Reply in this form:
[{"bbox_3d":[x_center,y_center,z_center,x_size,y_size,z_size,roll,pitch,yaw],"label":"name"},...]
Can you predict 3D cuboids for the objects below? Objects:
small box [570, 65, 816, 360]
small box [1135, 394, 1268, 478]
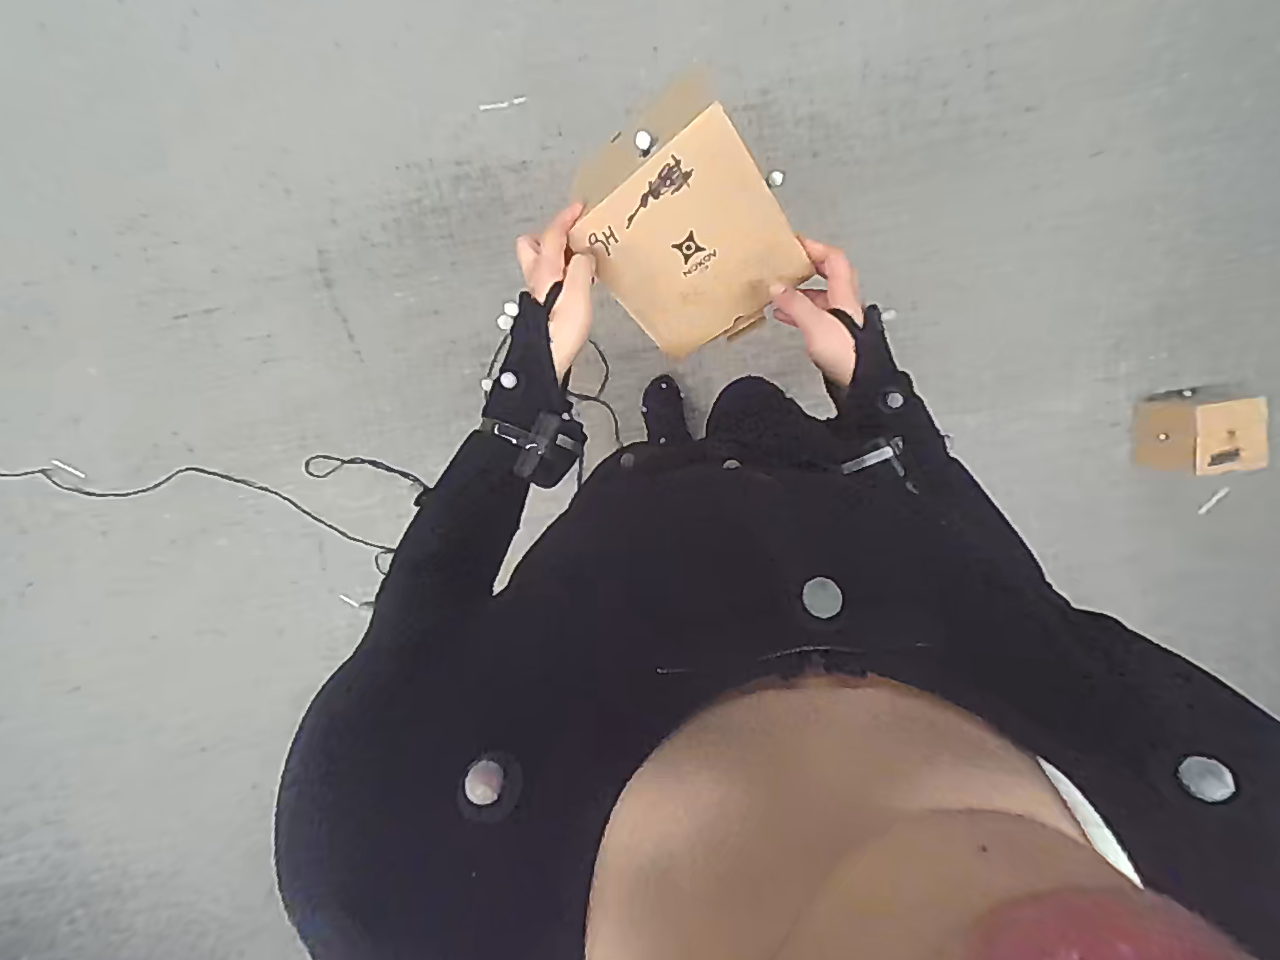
[{"bbox_3d":[0.052,-0.264,0.544,0.168,0.176,0.179,-28,132,26],"label":"small box"},{"bbox_3d":[1.404,-0.116,1.365,0.168,0.176,0.179,-9,100,3],"label":"small box"}]
